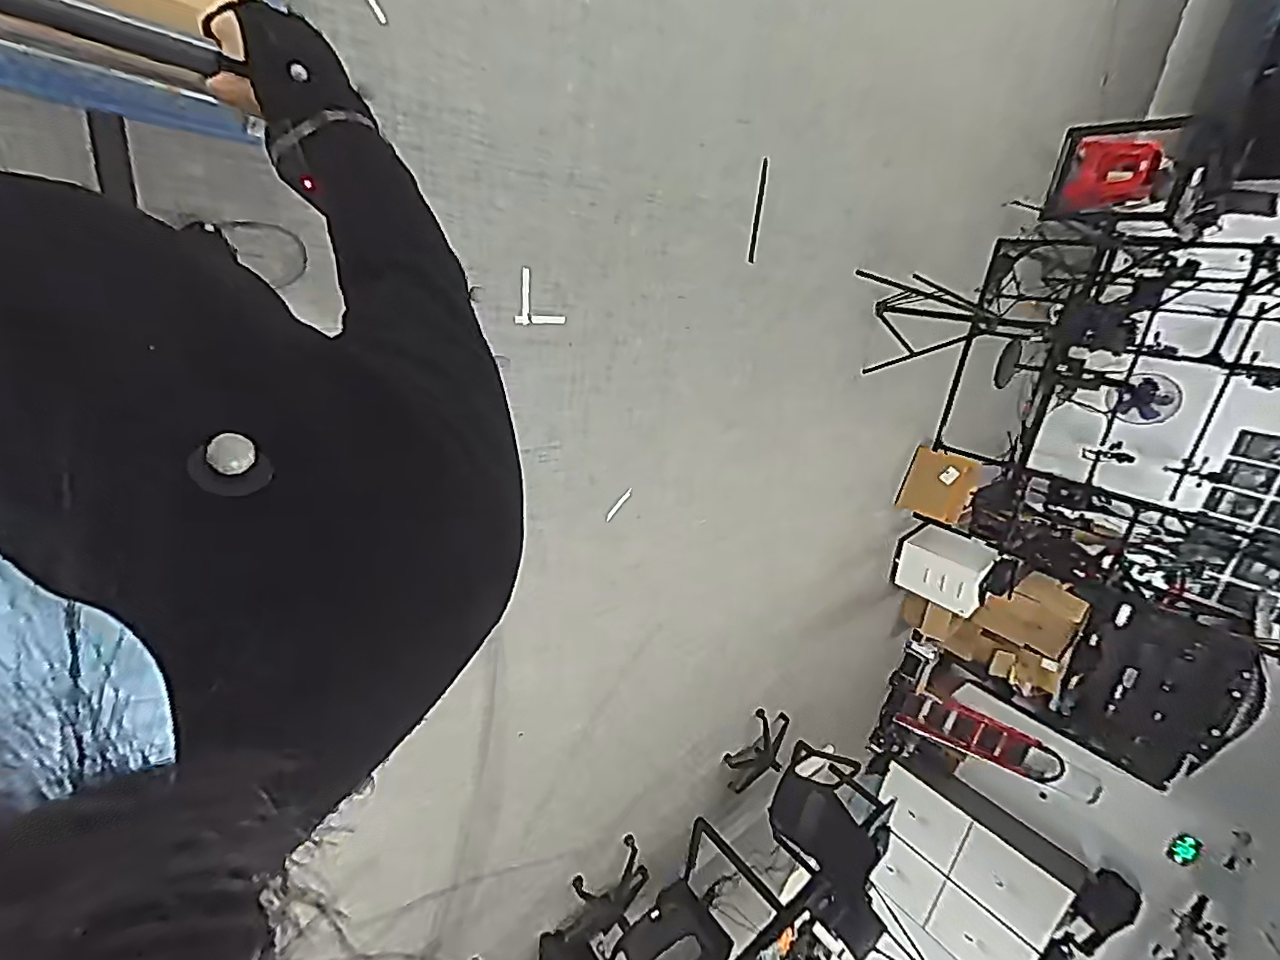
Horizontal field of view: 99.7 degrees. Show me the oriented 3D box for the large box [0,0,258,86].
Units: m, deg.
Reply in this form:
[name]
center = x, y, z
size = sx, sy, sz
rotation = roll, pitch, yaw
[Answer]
[large box]
center = -0.756, -0.754, 0.669
size = 0.408, 0.320, 0.320
rotation = -9, 117, -41
